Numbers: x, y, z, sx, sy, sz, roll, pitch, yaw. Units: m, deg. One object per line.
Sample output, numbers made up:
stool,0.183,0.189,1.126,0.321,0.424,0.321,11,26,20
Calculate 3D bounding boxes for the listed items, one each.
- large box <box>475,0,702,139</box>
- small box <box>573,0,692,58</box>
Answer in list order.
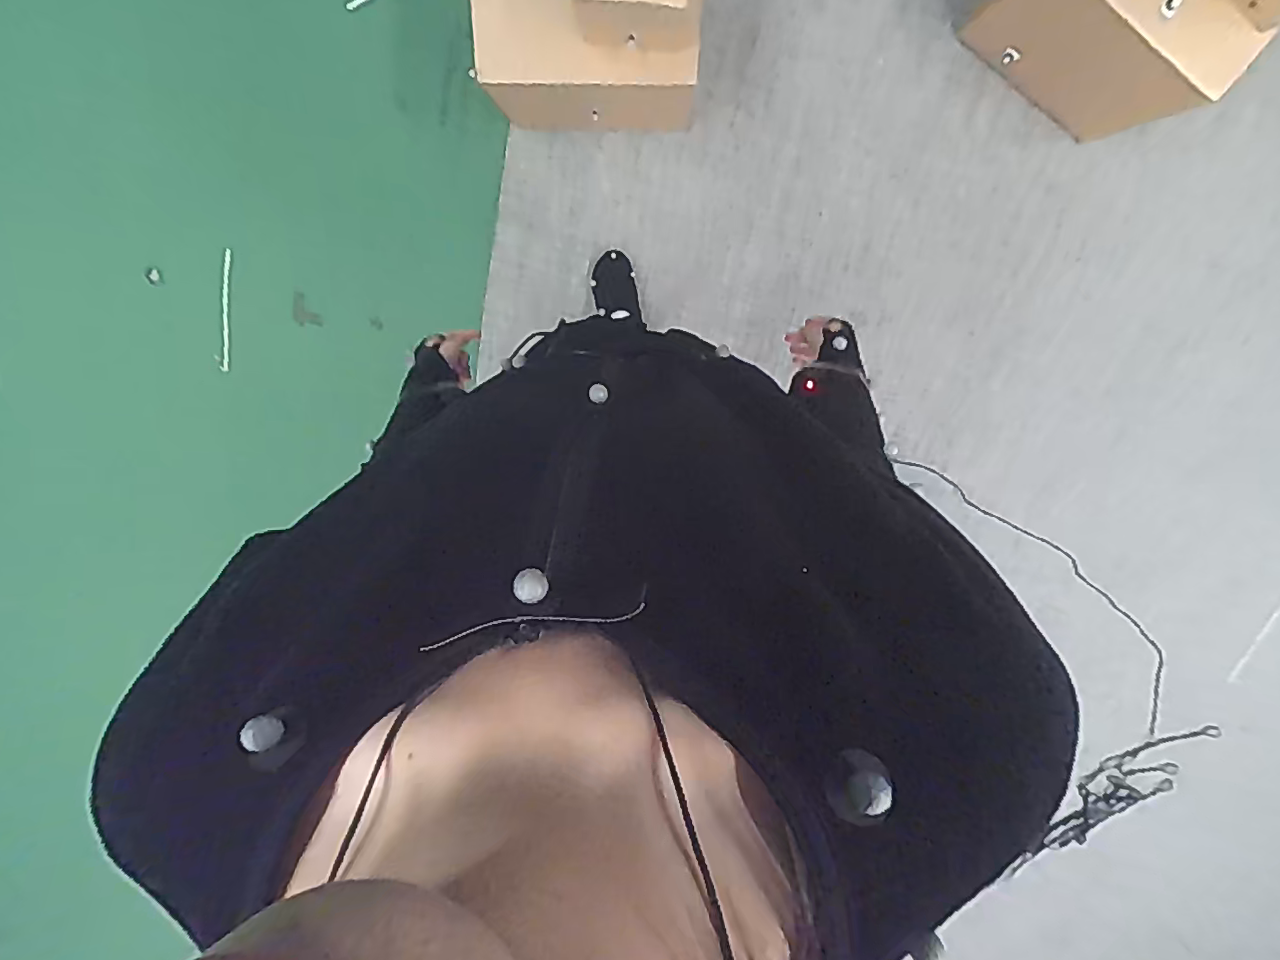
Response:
large box,-0.086,-0.894,1.075,0.408,0.320,0.320,1,108,2
small box,-0.005,-0.794,0.848,0.179,0.176,0.168,5,109,-1
